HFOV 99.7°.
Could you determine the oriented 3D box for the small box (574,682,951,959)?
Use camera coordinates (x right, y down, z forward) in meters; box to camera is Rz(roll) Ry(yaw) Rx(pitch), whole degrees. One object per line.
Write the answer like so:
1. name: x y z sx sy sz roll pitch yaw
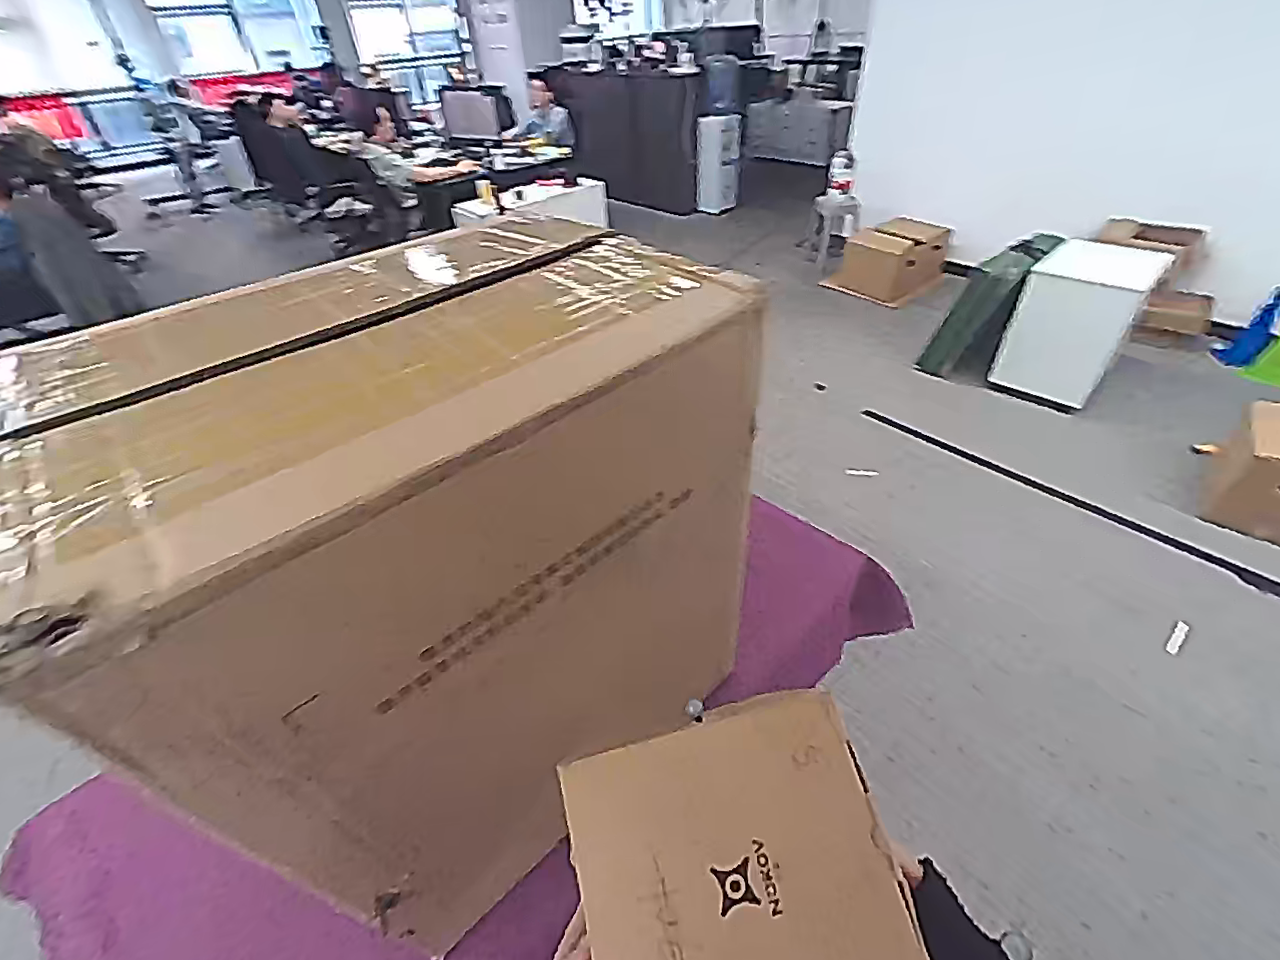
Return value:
1. small box: 0.061 0.245 0.368 0.179 0.176 0.168 -13 67 -6
